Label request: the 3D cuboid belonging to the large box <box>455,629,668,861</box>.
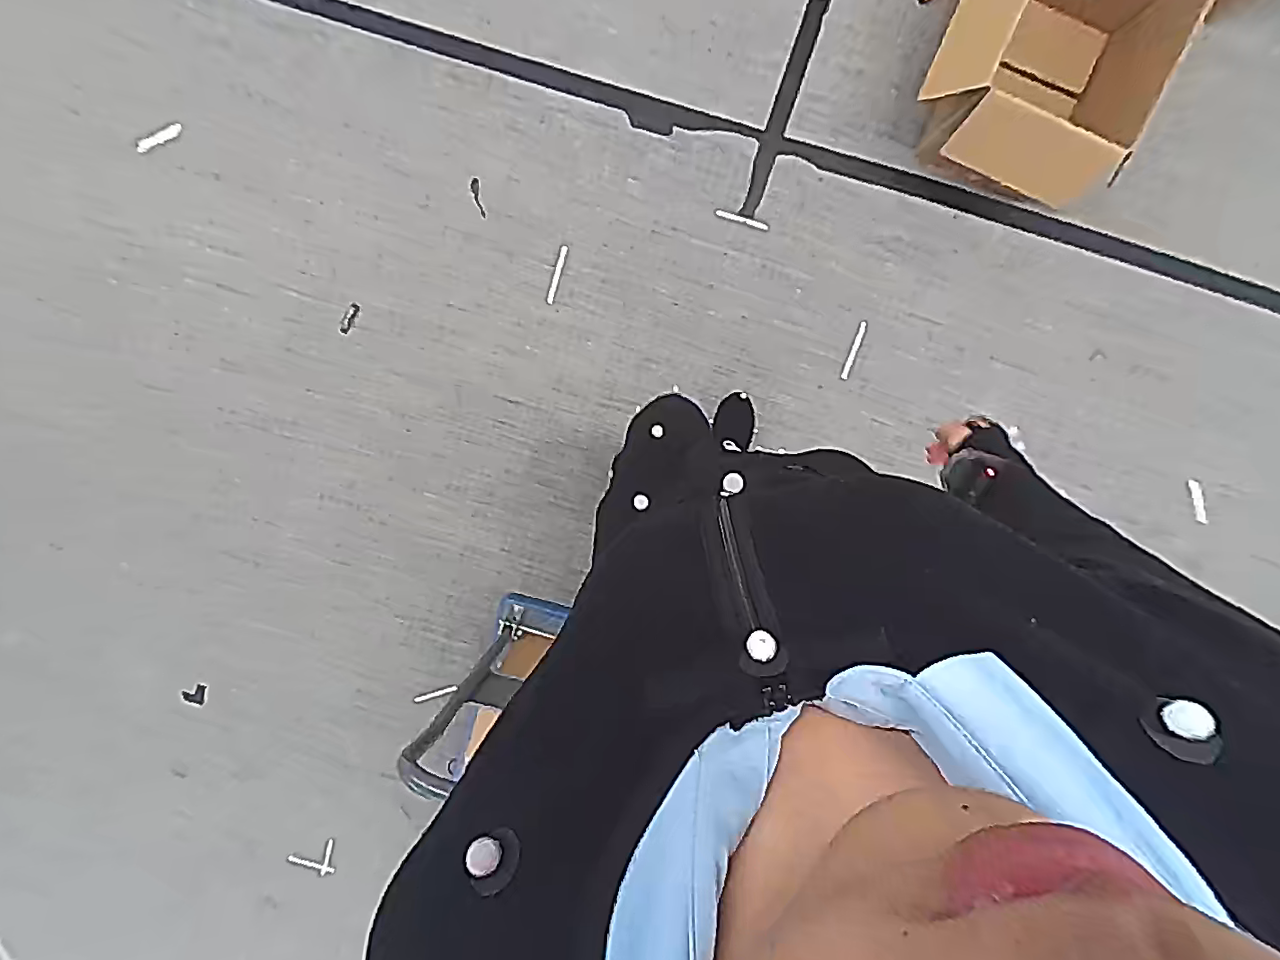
[{"bbox_3d":[-0.161,0.601,1.281,0.408,0.320,0.320,16,98,1],"label":"large box"}]
